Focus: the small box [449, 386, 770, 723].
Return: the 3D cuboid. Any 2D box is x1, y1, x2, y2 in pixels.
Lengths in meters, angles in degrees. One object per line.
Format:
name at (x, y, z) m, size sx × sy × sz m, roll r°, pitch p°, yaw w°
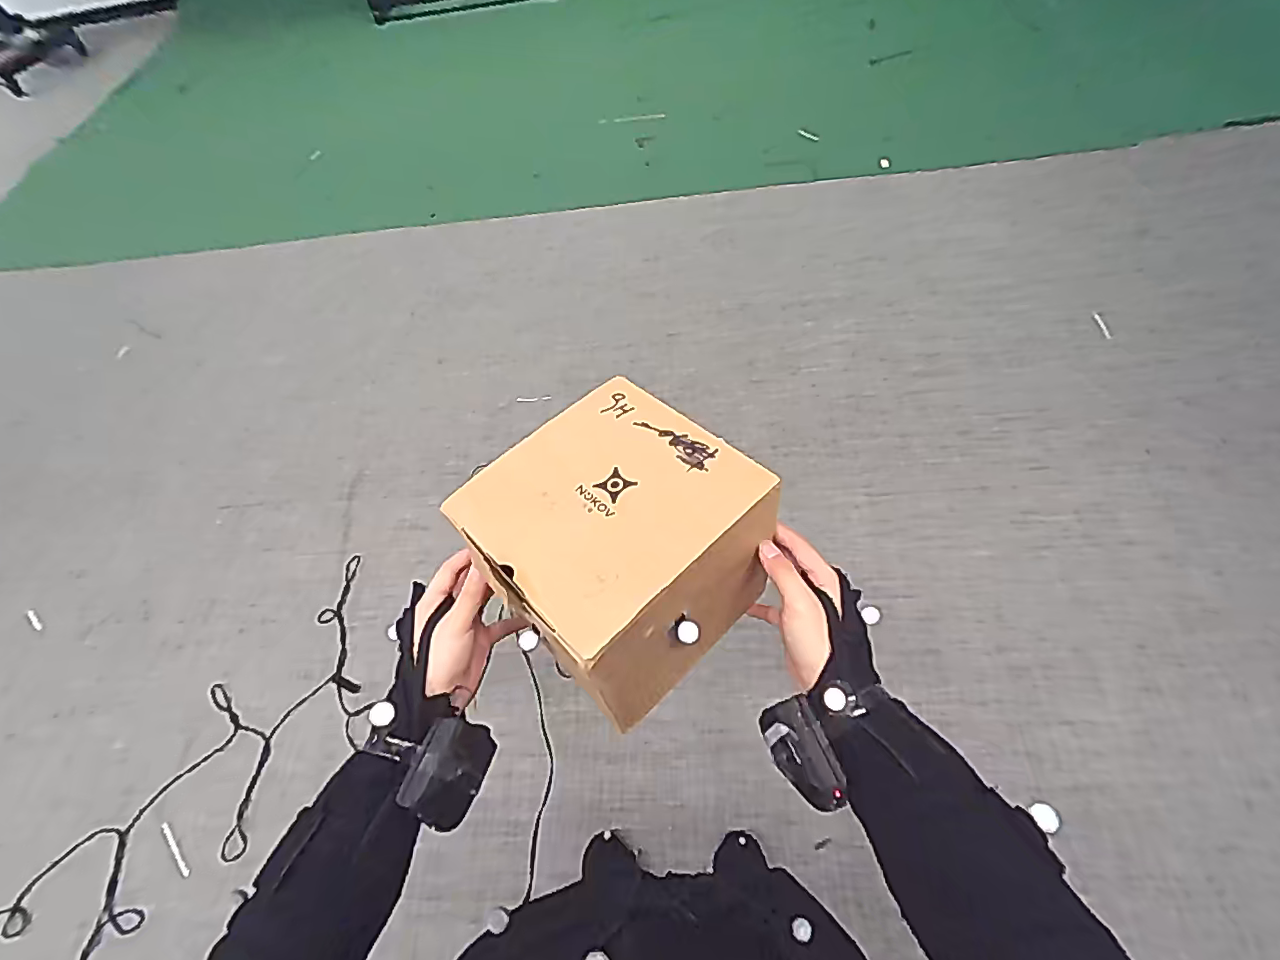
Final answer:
small box at (-0.014, 0.063, 0.441) m, size 0.179 × 0.176 × 0.168 m, roll -40°, pitch 57°, yaw -20°
